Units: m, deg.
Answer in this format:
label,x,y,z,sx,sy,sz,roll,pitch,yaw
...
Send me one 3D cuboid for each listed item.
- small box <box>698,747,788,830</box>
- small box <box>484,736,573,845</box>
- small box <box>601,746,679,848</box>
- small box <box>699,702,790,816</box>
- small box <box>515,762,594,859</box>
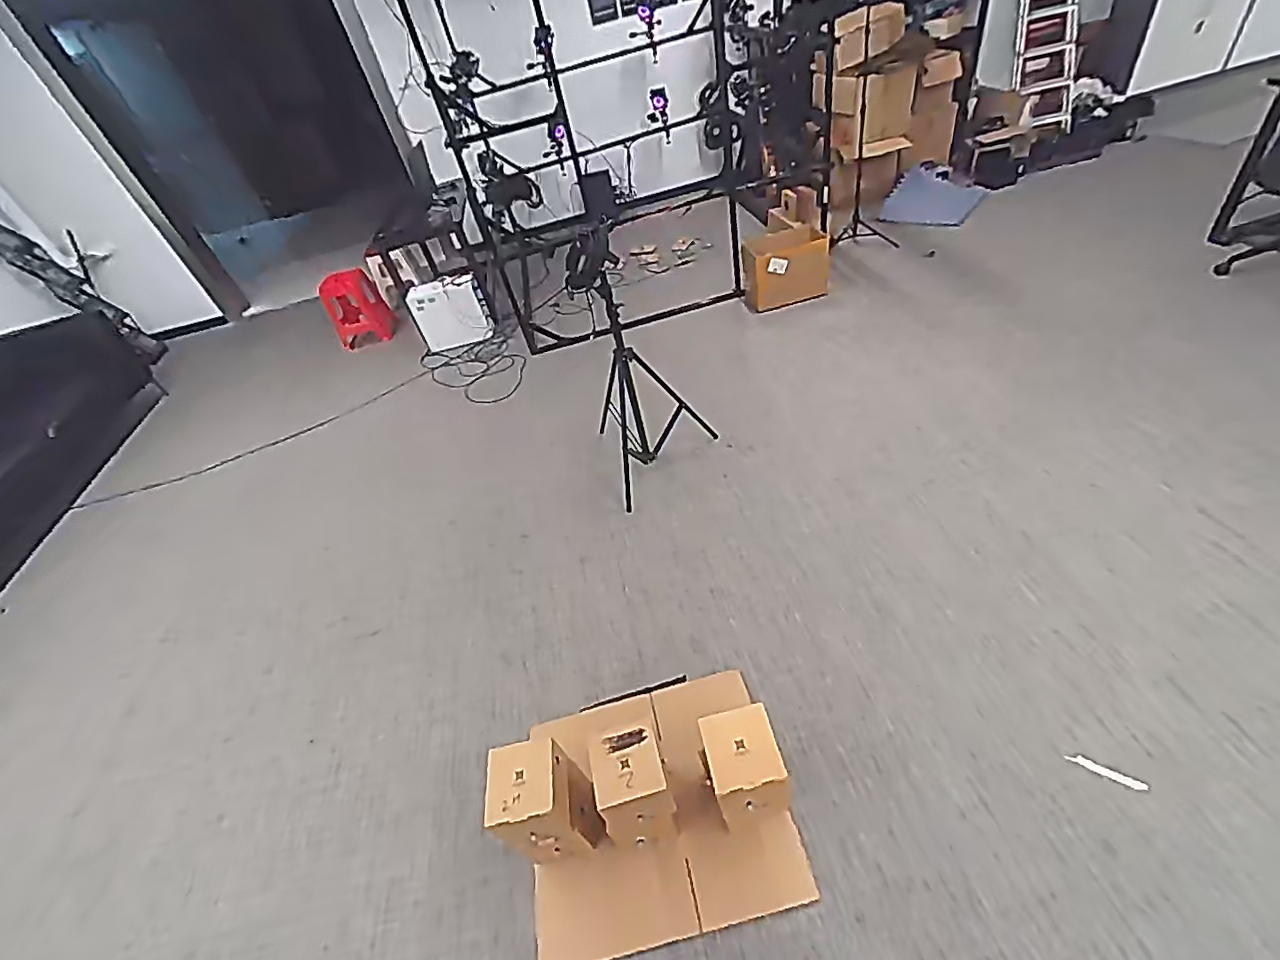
label,x,y,z,sx,sy,sz,roll,pitch,yaw
small box,0.273,0.777,1.410,0.179,0.176,0.168,-22,43,-7
small box,-0.269,0.766,1.335,0.168,0.176,0.179,-14,43,2
small box,0.000,0.836,1.427,0.168,0.176,0.179,-13,42,2
small box,0.247,0.667,1.292,0.168,0.176,0.179,-15,43,0
small box,-0.225,0.886,1.440,0.168,0.176,0.179,-15,43,2
